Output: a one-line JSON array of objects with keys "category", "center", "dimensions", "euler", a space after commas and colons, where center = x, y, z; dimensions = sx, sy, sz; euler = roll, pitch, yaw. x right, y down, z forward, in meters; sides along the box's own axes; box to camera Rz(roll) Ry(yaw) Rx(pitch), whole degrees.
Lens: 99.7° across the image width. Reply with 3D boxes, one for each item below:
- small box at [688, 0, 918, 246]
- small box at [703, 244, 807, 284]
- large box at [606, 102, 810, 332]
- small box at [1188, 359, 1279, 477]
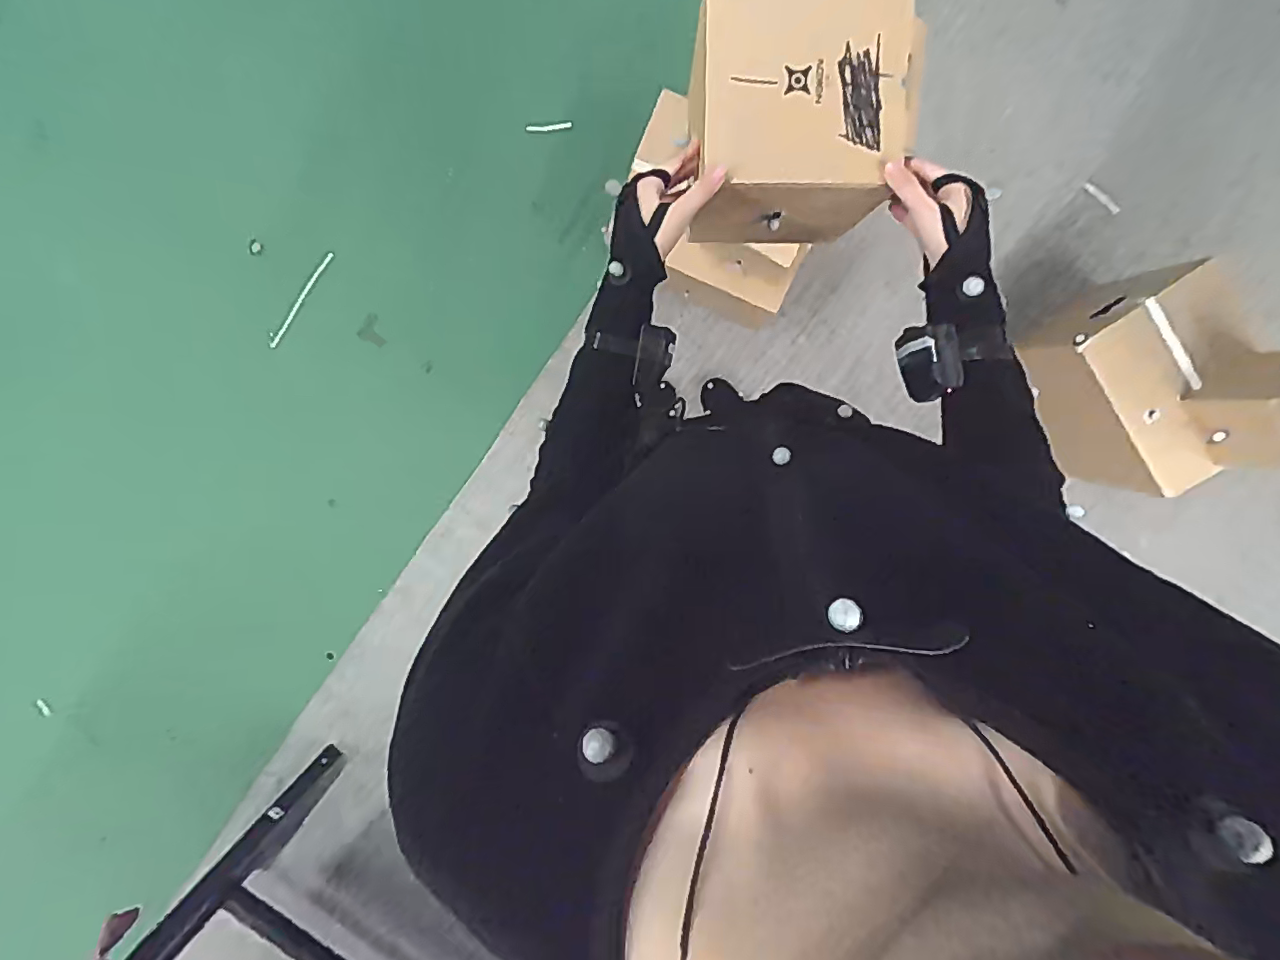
[{"category": "small box", "center": [0.143, -0.342, 0.535], "dimensions": [0.179, 0.176, 0.168], "euler": [0, 96, 1]}, {"category": "small box", "center": [0.235, -0.492, 1.028], "dimensions": [0.179, 0.176, 0.168], "euler": [28, 100, -1]}, {"category": "large box", "center": [0.181, -0.580, 1.268], "dimensions": [0.408, 0.320, 0.320], "euler": [24, 98, 1]}, {"category": "small box", "center": [1.228, -0.123, 1.027], "dimensions": [0.179, 0.176, 0.168], "euler": [-33, 95, 6]}]
